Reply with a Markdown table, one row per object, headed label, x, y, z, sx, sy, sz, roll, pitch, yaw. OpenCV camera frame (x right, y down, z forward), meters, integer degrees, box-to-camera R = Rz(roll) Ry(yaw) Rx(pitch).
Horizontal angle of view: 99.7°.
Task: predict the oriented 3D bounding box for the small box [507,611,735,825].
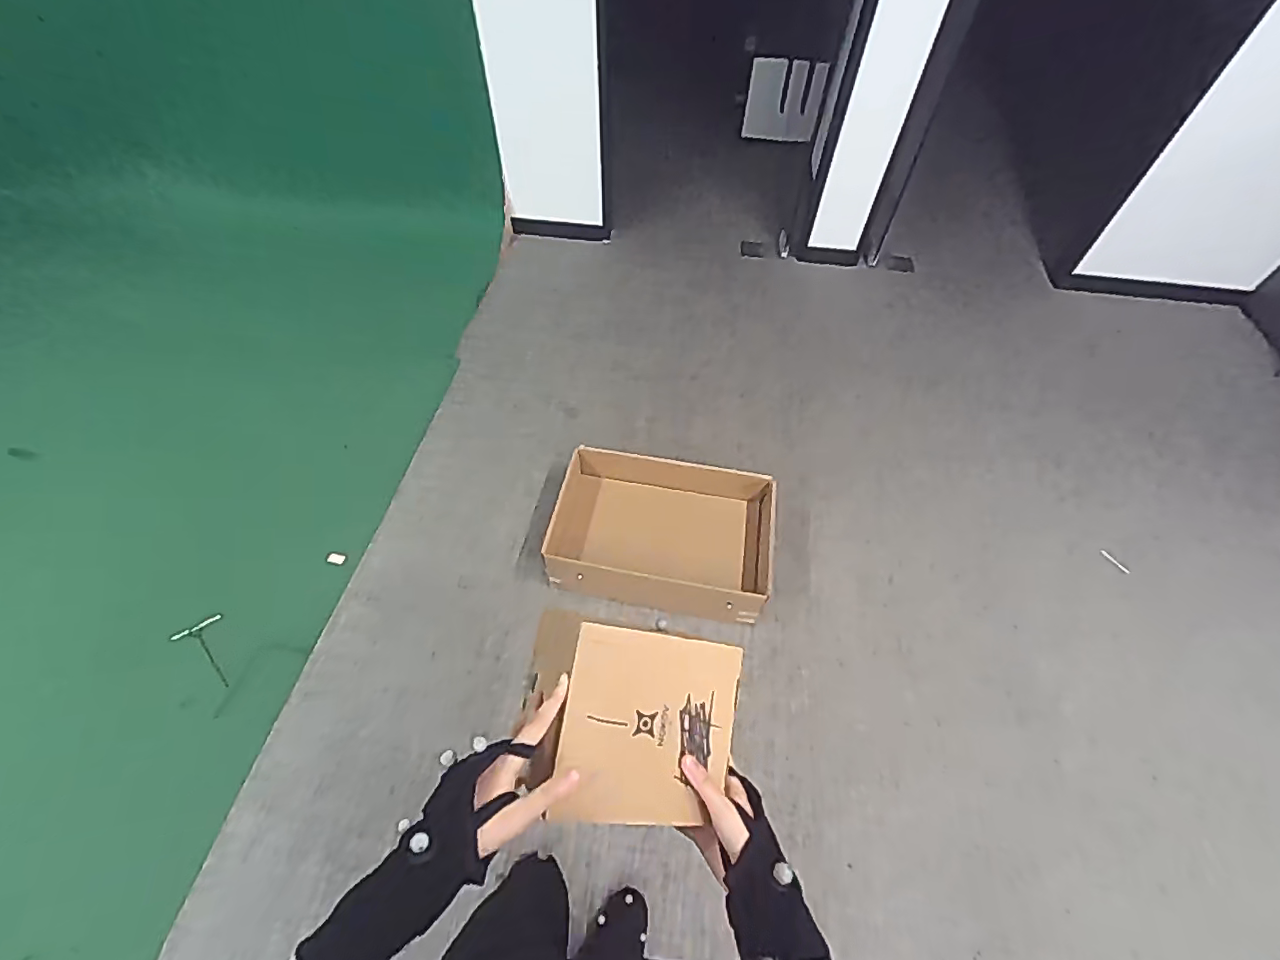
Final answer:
| label | x | y | z | sx | sy | sz | roll | pitch | yaw |
| --- | --- | --- | --- | --- | --- | --- | --- | --- | --- |
| small box | -0.027 | 0.236 | 0.570 | 0.179 | 0.176 | 0.168 | 16 | 75 | -19 |
